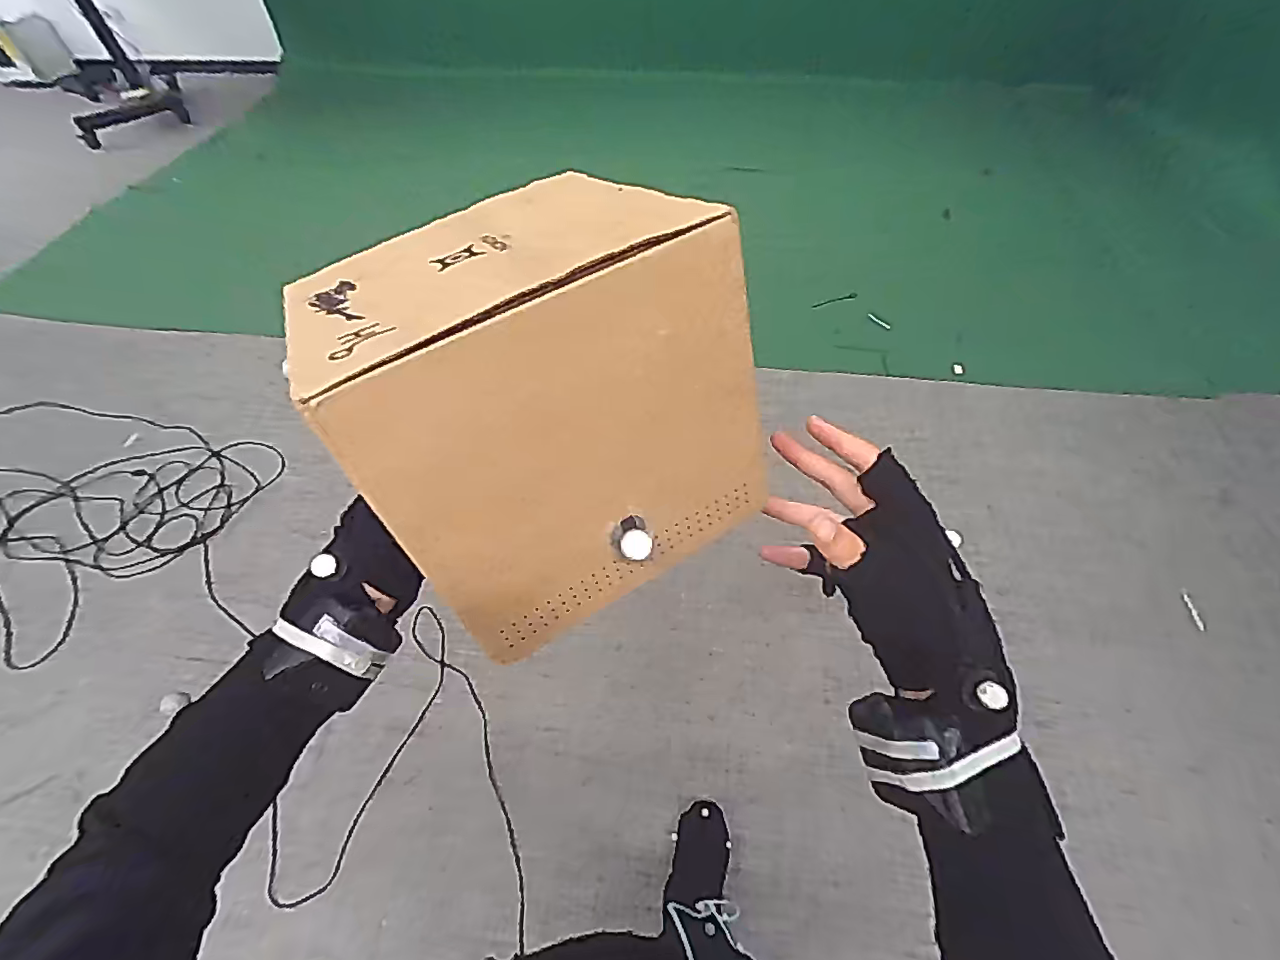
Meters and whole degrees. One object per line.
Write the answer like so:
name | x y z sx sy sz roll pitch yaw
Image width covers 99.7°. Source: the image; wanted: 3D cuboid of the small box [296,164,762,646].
small box | -0.050 -0.049 0.297 0.179 0.176 0.168 -29 42 -15
